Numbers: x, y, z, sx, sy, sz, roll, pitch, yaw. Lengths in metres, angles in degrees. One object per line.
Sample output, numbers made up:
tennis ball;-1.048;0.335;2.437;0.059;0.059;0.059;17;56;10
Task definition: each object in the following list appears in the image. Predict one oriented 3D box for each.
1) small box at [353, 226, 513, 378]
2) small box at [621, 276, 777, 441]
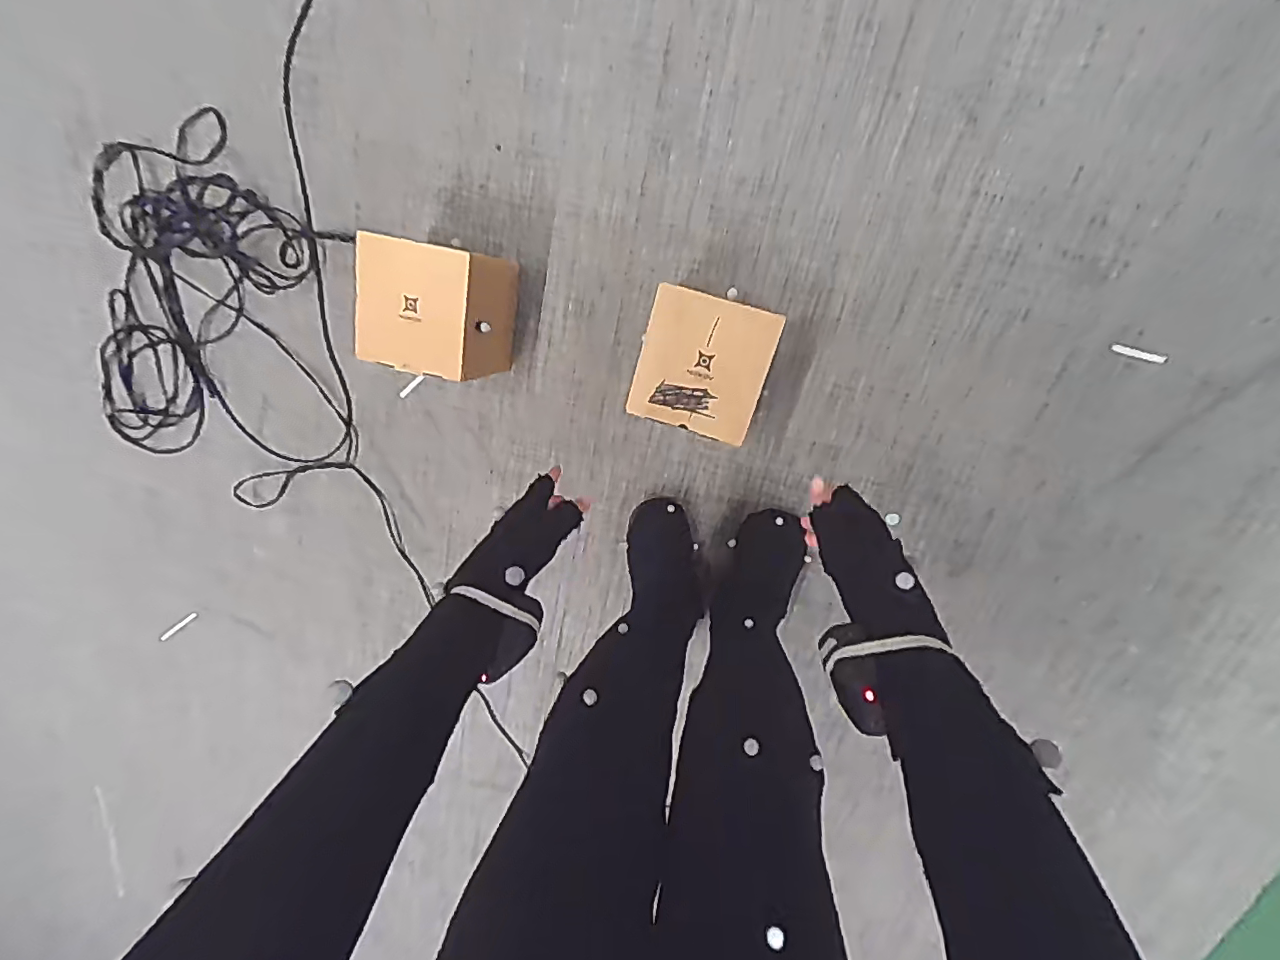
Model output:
small box;-0.304;-0.267;0.817;0.168;0.176;0.179;13;111;6
small box;0.087;-0.178;0.771;0.168;0.176;0.179;18;111;5
